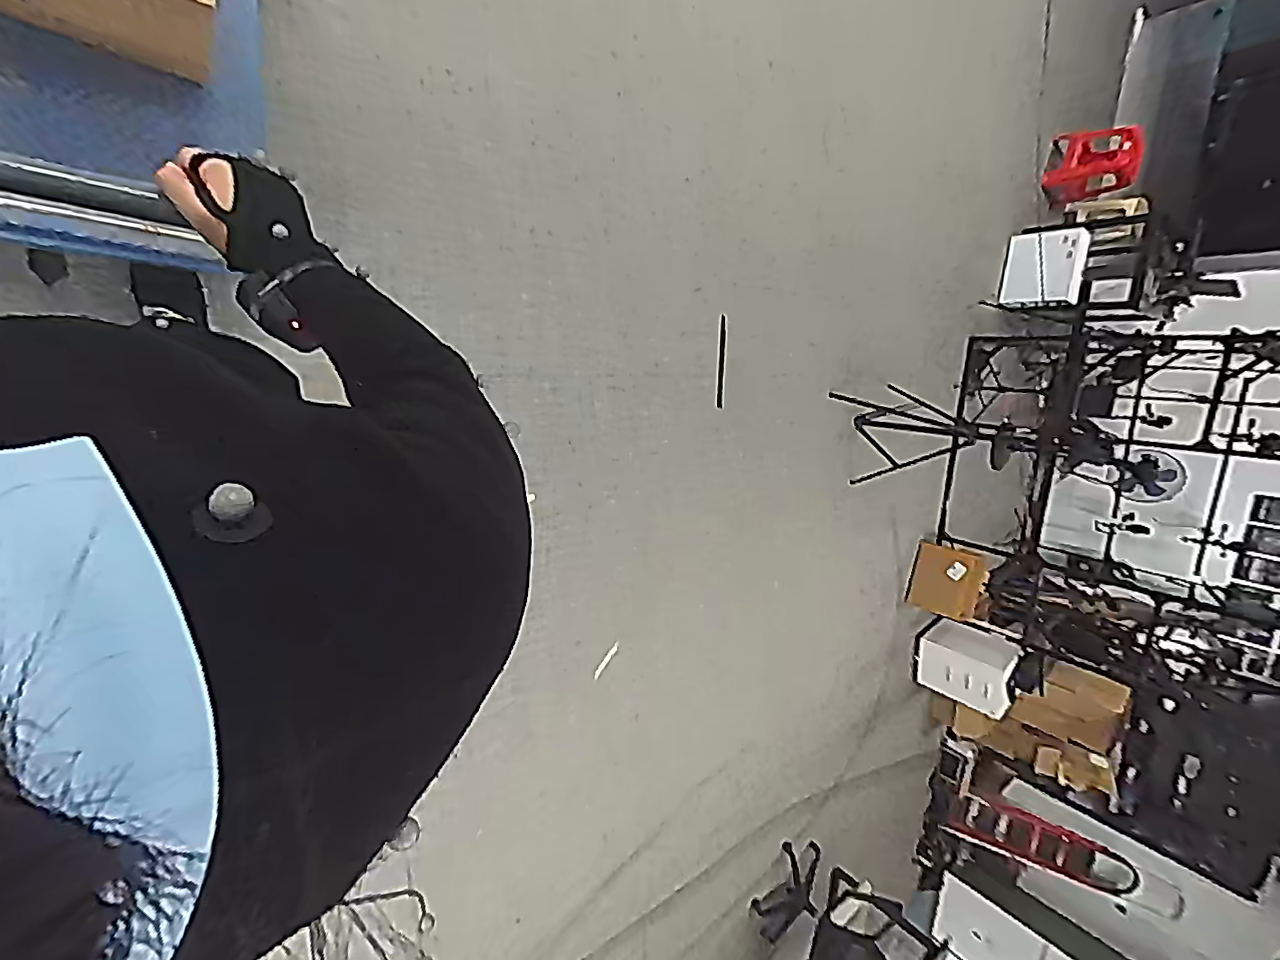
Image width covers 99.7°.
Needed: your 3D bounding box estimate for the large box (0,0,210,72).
[{"bbox_3d":[-0.817,-0.819,0.690,0.408,0.320,0.320,-2,103,-40],"label":"large box"}]
